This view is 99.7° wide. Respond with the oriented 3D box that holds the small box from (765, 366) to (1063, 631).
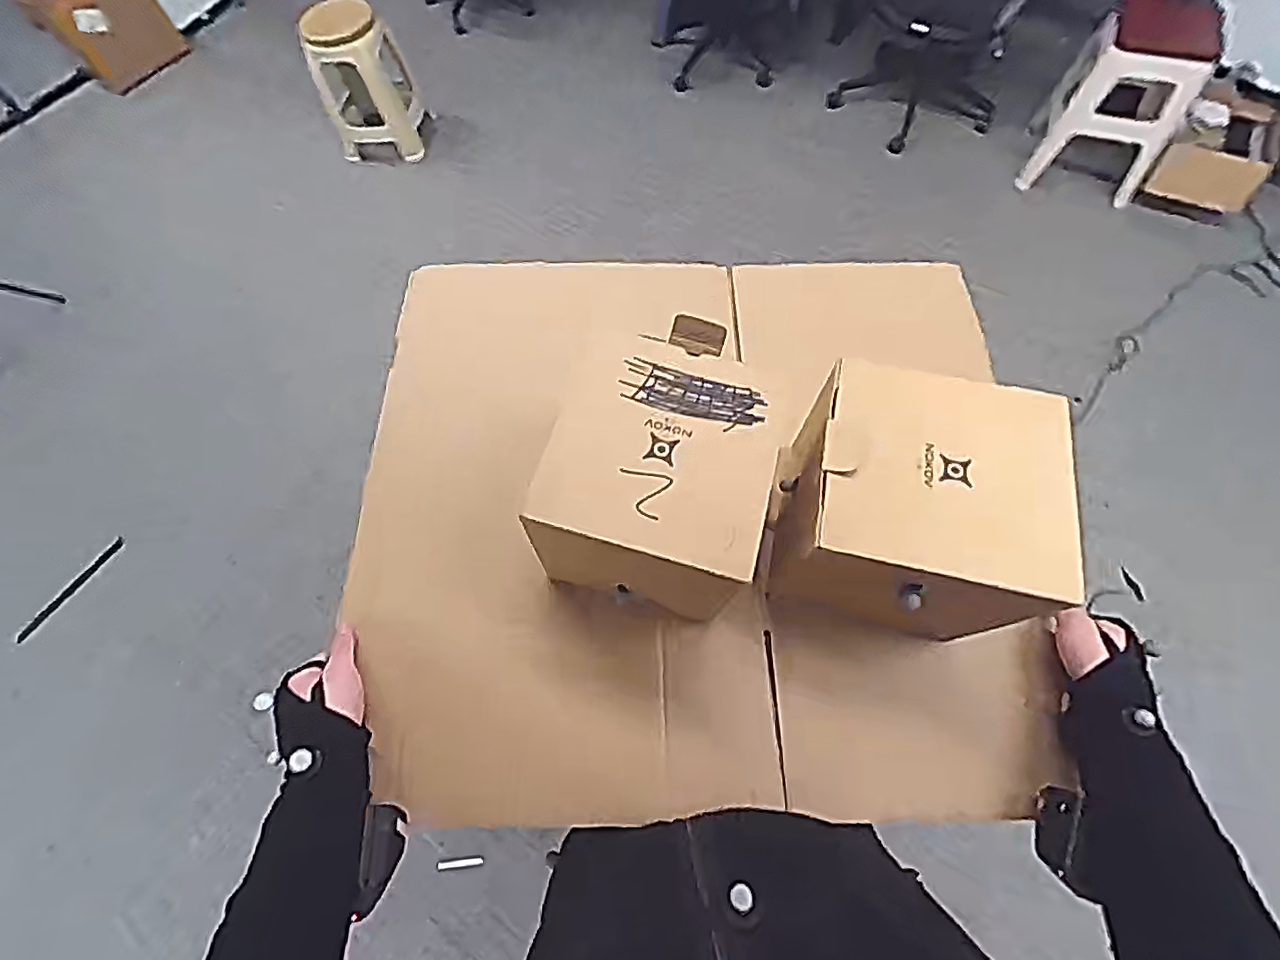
[{"bbox_3d":[0.224,0.028,0.479,0.179,0.176,0.168,12,67,6],"label":"small box"}]
